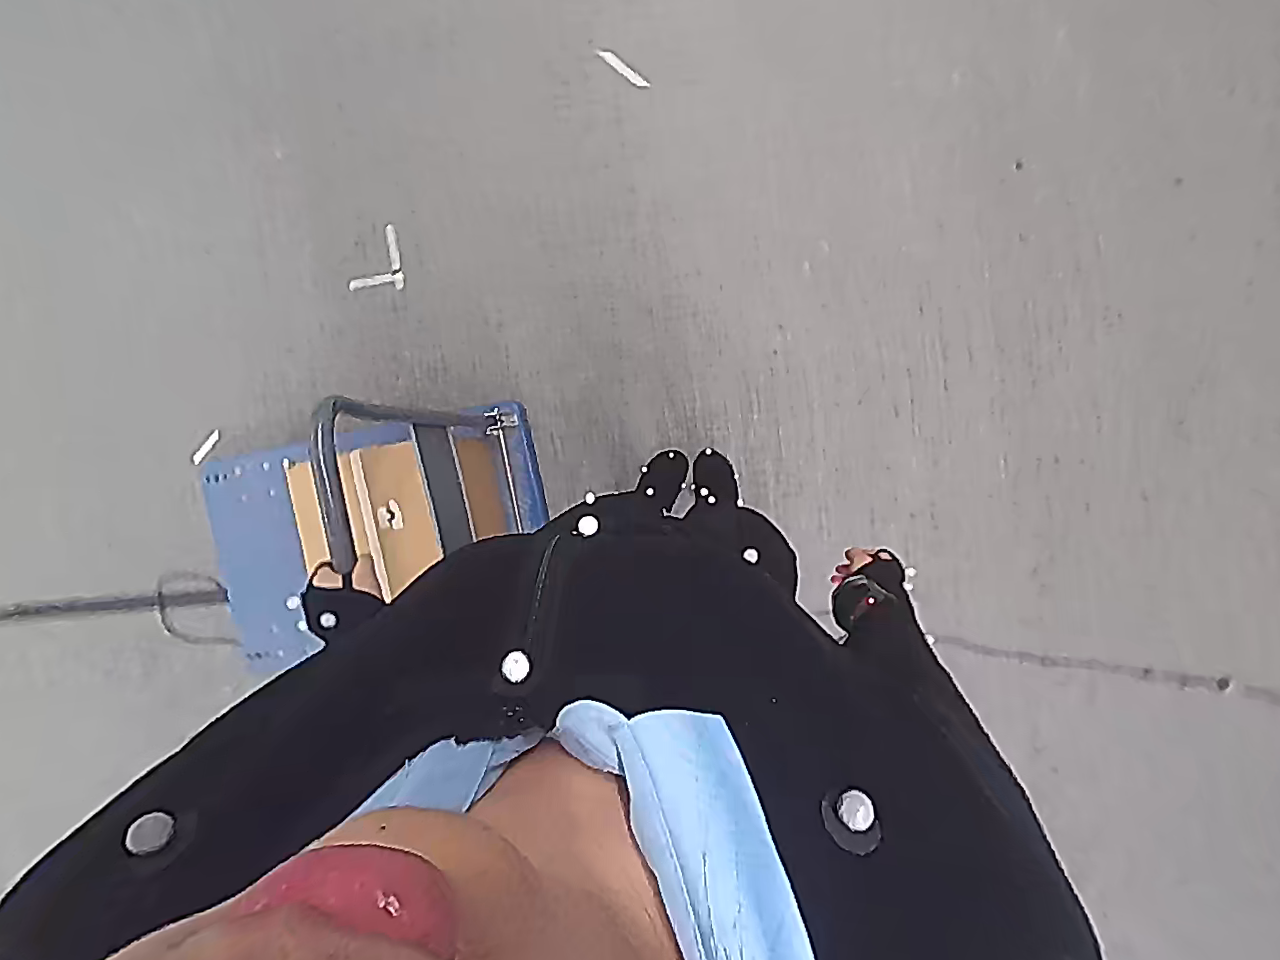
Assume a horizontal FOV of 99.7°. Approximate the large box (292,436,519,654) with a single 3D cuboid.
[{"bbox_3d":[-0.499,0.127,1.222,0.320,0.320,0.408,-10,92,5],"label":"large box"}]
